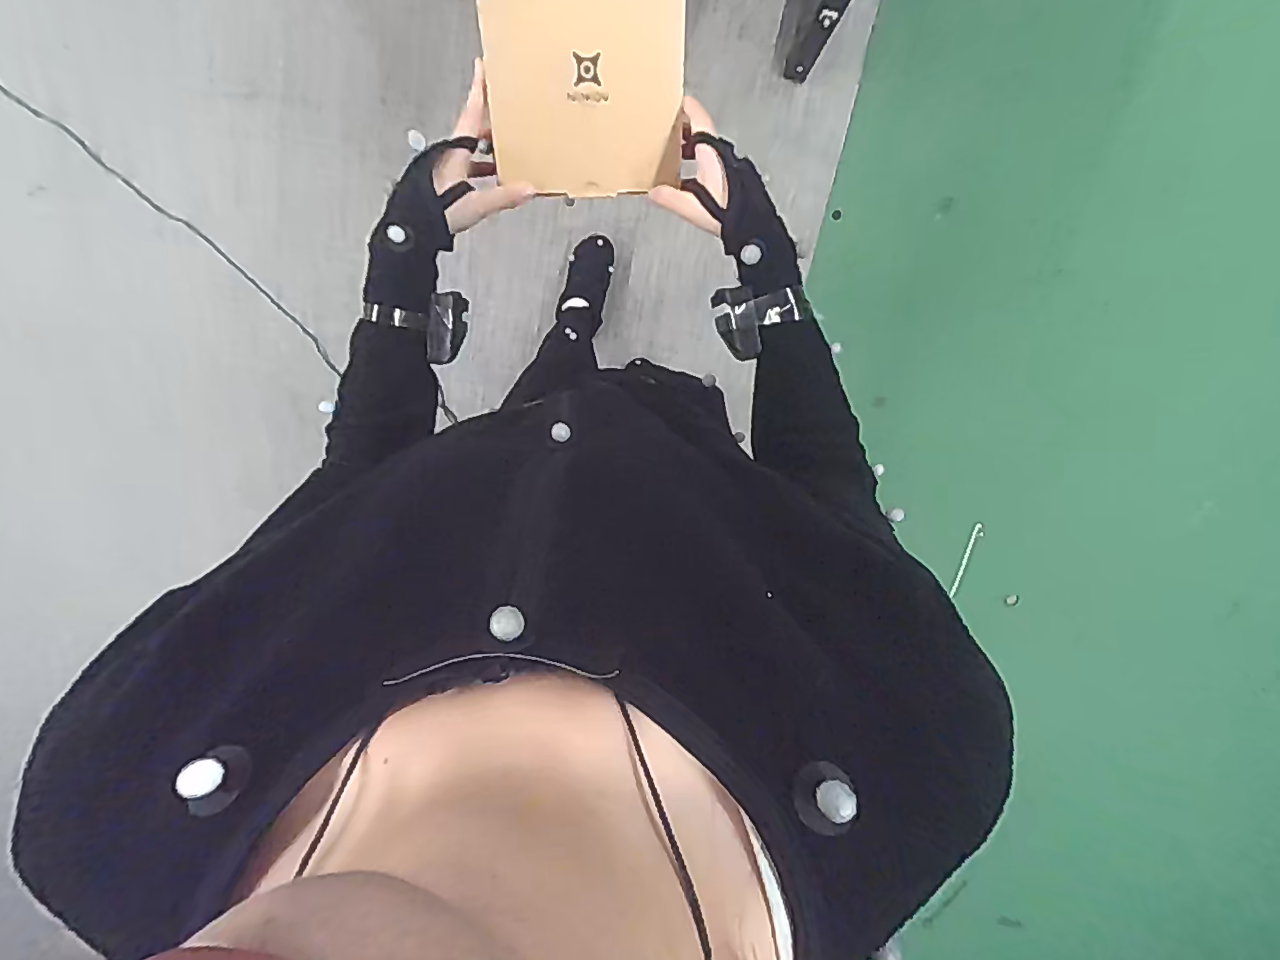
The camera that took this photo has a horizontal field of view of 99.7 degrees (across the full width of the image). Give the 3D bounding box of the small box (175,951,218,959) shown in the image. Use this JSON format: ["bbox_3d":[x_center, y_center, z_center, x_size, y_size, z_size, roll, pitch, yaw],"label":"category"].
[{"bbox_3d":[-0.948,1.137,1.123,0.179,0.176,0.168,16,103,-1],"label":"small box"}]

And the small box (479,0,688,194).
[{"bbox_3d":[-0.057,-0.370,0.508,0.168,0.176,0.179,-6,120,-8],"label":"small box"}]

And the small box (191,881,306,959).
[{"bbox_3d":[-0.929,1.106,1.283,0.168,0.176,0.179,18,103,-2],"label":"small box"}]
